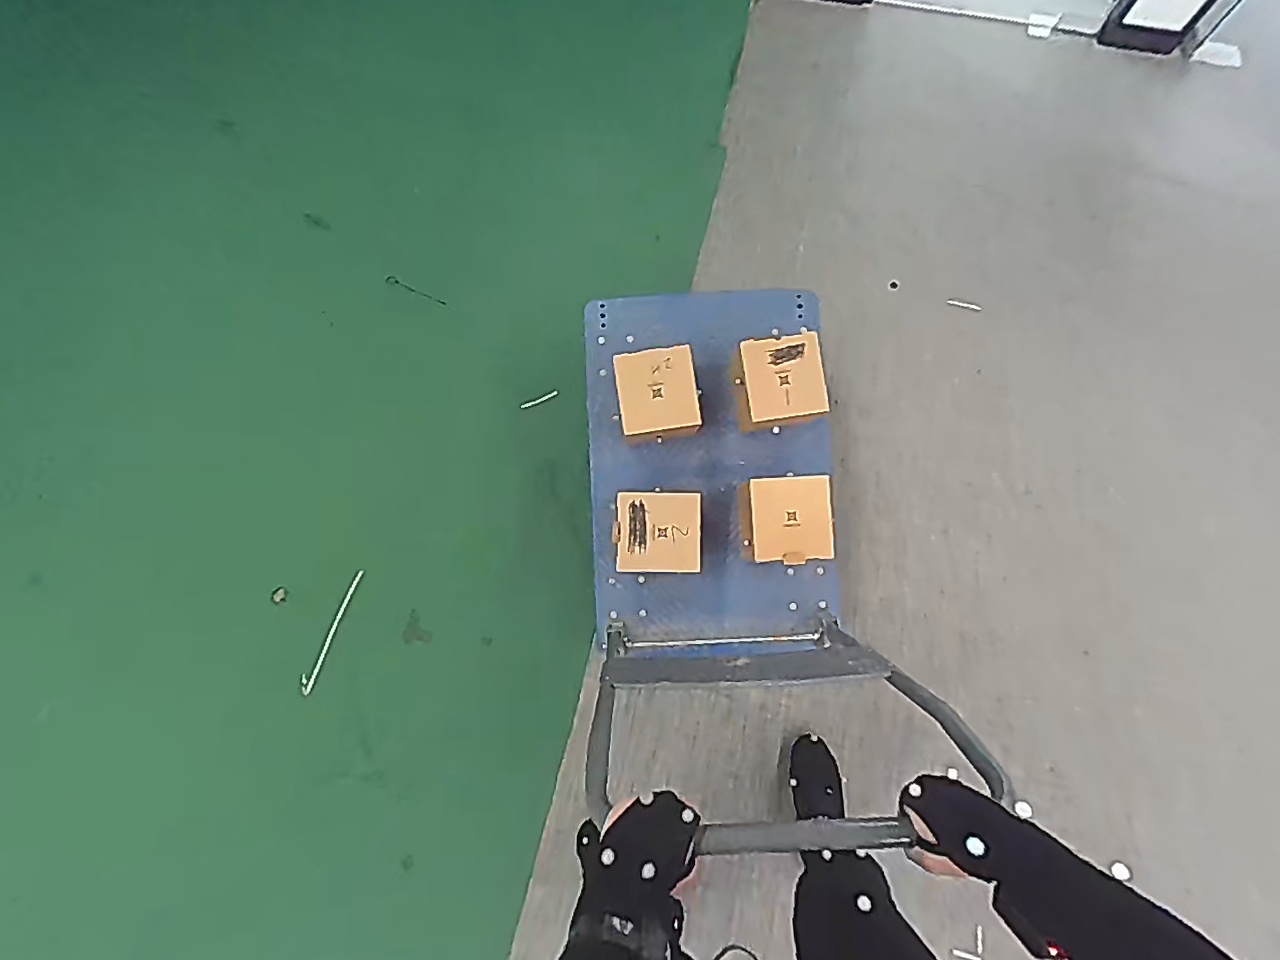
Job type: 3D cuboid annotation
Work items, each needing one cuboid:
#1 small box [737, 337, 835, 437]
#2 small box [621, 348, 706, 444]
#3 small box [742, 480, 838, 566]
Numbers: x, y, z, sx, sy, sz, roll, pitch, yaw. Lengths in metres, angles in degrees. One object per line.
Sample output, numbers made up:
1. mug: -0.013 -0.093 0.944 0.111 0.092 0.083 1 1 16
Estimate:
1. small box: 0.318 -0.202 1.212 0.168 0.176 0.179 -7 87 0
2. small box: 0.050 -0.179 1.211 0.168 0.176 0.179 -7 86 -1
3. small box: 0.322 0.094 1.192 0.168 0.176 0.179 -2 87 0
